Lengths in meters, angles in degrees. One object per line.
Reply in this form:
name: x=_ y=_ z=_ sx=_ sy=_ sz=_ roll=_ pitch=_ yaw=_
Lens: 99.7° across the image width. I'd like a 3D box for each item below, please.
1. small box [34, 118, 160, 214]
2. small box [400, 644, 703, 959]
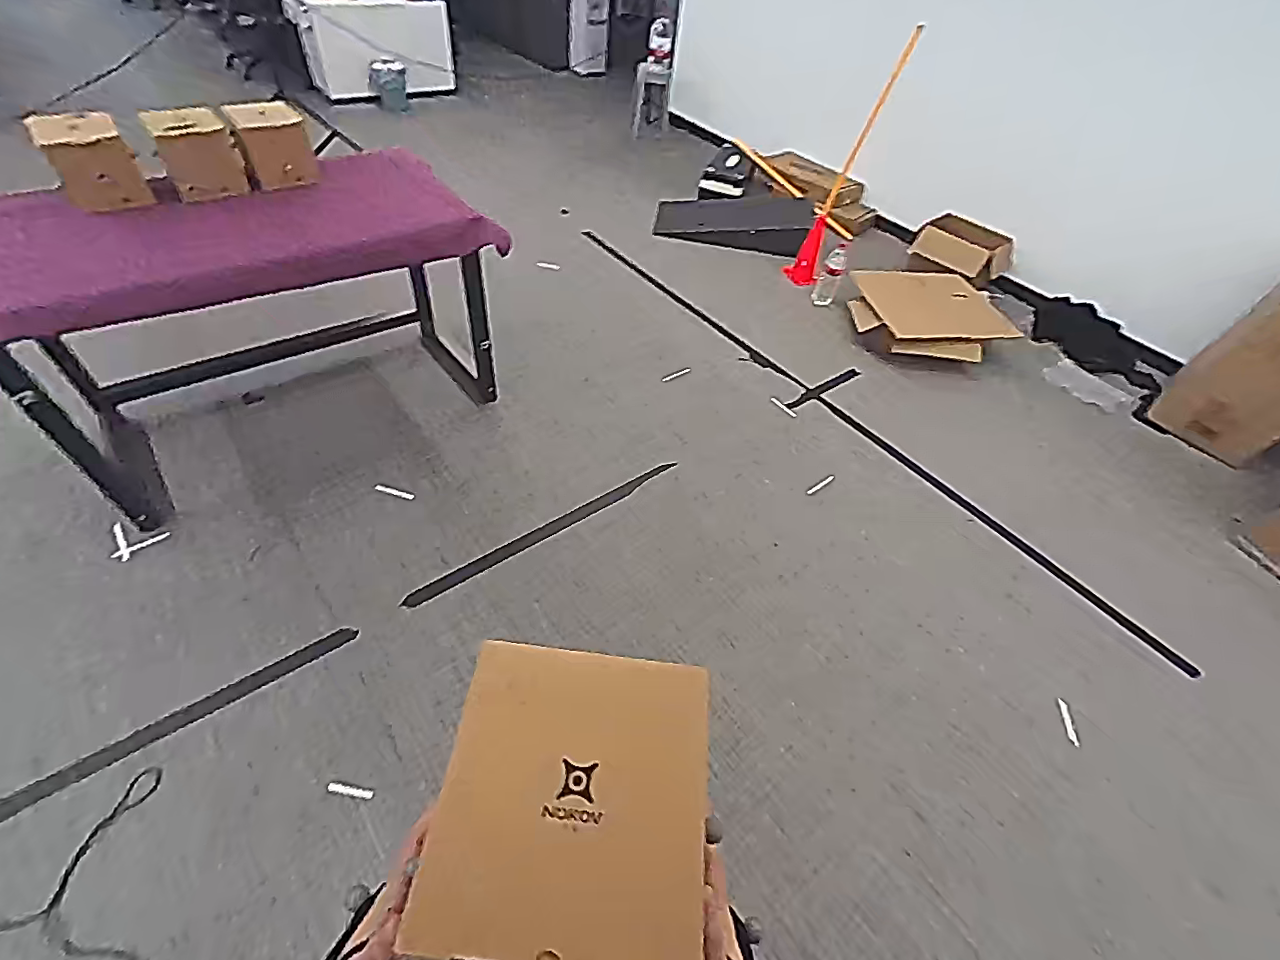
small box: x=-1.412 y=-0.817 z=1.417 sx=0.168 sy=0.176 sz=0.179 roll=-29 pitch=61 yaw=-30
small box: x=-0.048 y=0.244 z=0.400 sx=0.168 sy=0.176 sz=0.179 roll=6 pitch=52 yaw=-1
